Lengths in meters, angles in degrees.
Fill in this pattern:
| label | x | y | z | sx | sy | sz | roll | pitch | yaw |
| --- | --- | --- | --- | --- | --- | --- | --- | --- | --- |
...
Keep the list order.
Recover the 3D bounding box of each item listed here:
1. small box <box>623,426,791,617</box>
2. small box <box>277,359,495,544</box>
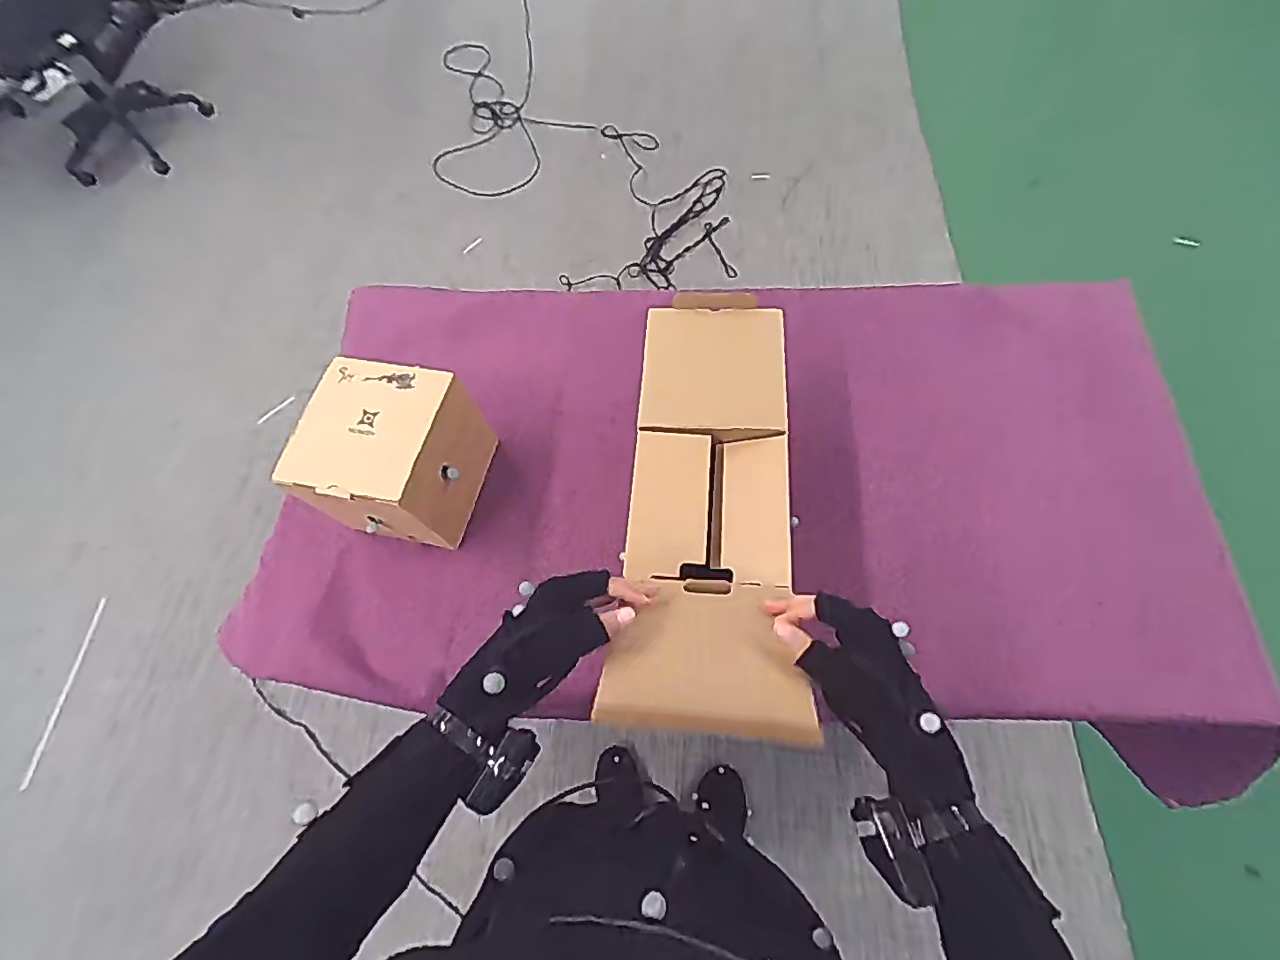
| label | x | y | z | sx | sy | sz | roll | pitch | yaw |
| --- | --- | --- | --- | --- | --- | --- | --- | --- | --- |
| small box | 0.080 | 0.055 | 0.627 | 0.168 | 0.176 | 0.179 | 3 | 65 | 6 |
| small box | -0.309 | -0.029 | 0.703 | 0.168 | 0.176 | 0.179 | 10 | 68 | 10 |
